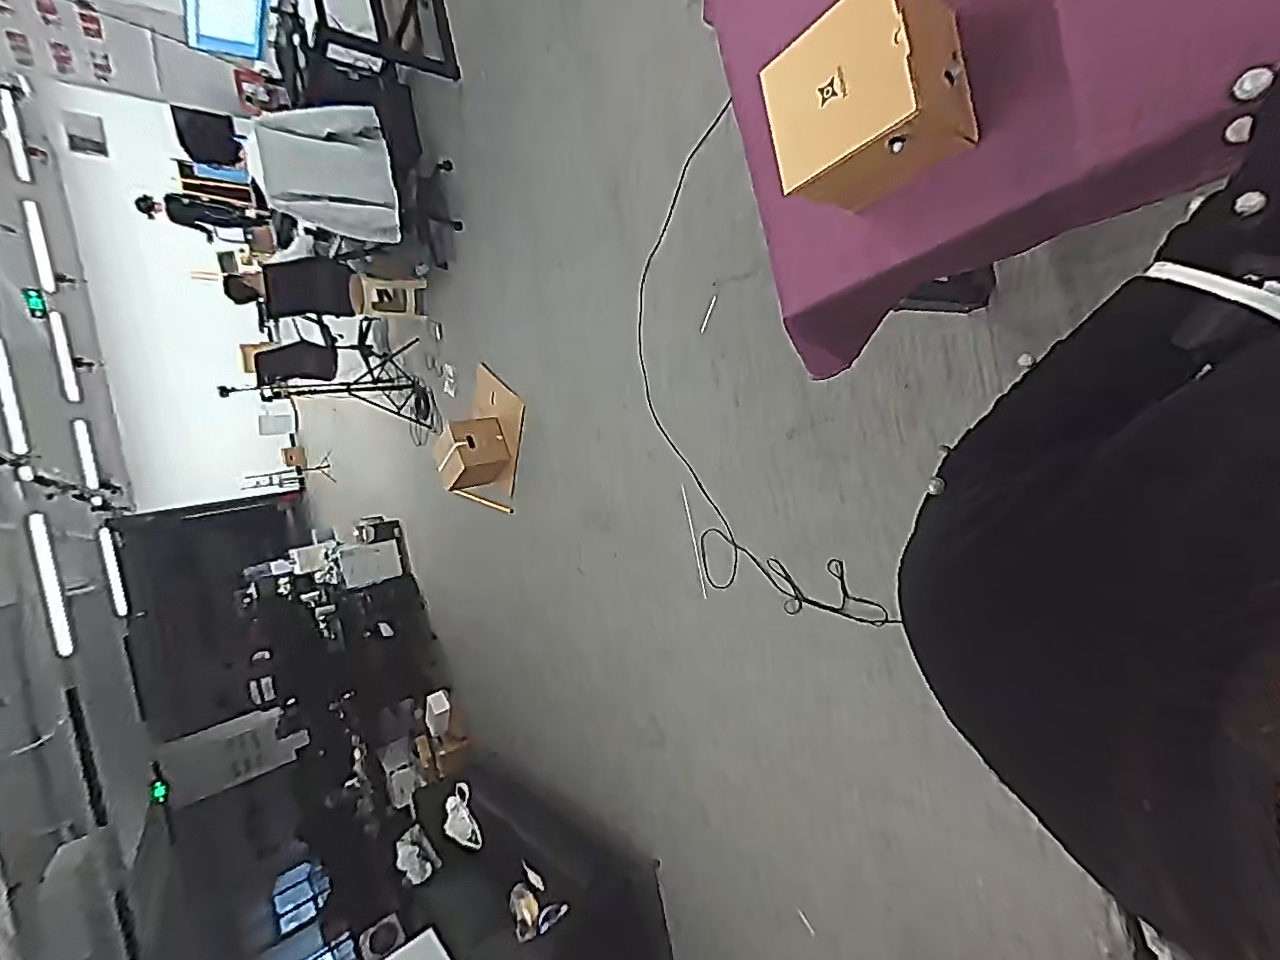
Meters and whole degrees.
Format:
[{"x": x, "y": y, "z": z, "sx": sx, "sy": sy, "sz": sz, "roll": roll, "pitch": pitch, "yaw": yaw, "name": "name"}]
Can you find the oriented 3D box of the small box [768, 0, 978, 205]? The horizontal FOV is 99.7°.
[{"x": 0.298, "y": -0.482, "z": 0.695, "sx": 0.179, "sy": 0.176, "sz": 0.168, "roll": -11, "pitch": 91, "yaw": 52, "name": "small box"}]
